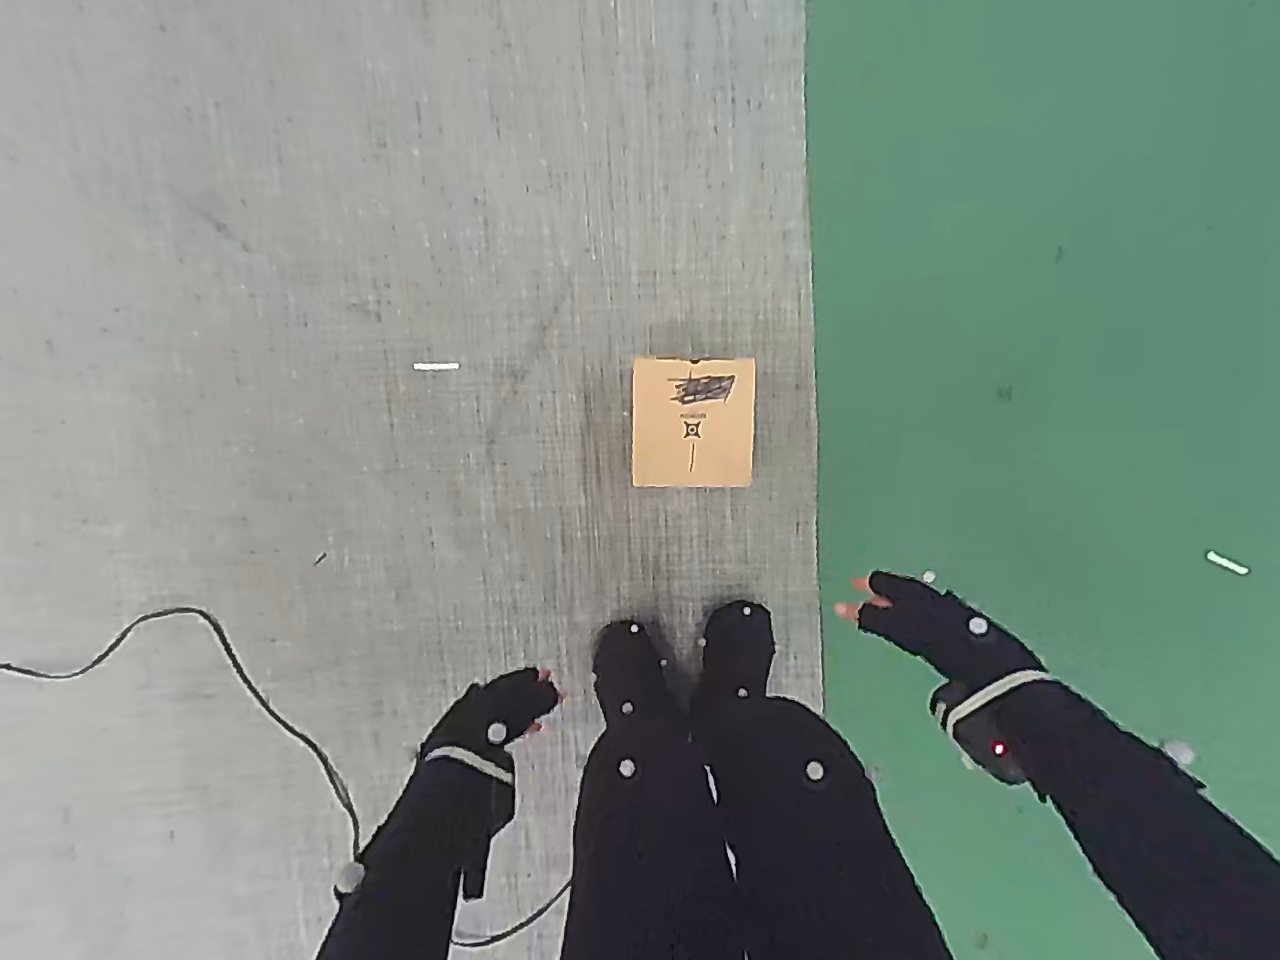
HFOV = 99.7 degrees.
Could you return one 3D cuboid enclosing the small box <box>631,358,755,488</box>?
[{"bbox_3d":[0.071,-0.085,0.815,0.168,0.176,0.179,1,96,0],"label":"small box"}]
